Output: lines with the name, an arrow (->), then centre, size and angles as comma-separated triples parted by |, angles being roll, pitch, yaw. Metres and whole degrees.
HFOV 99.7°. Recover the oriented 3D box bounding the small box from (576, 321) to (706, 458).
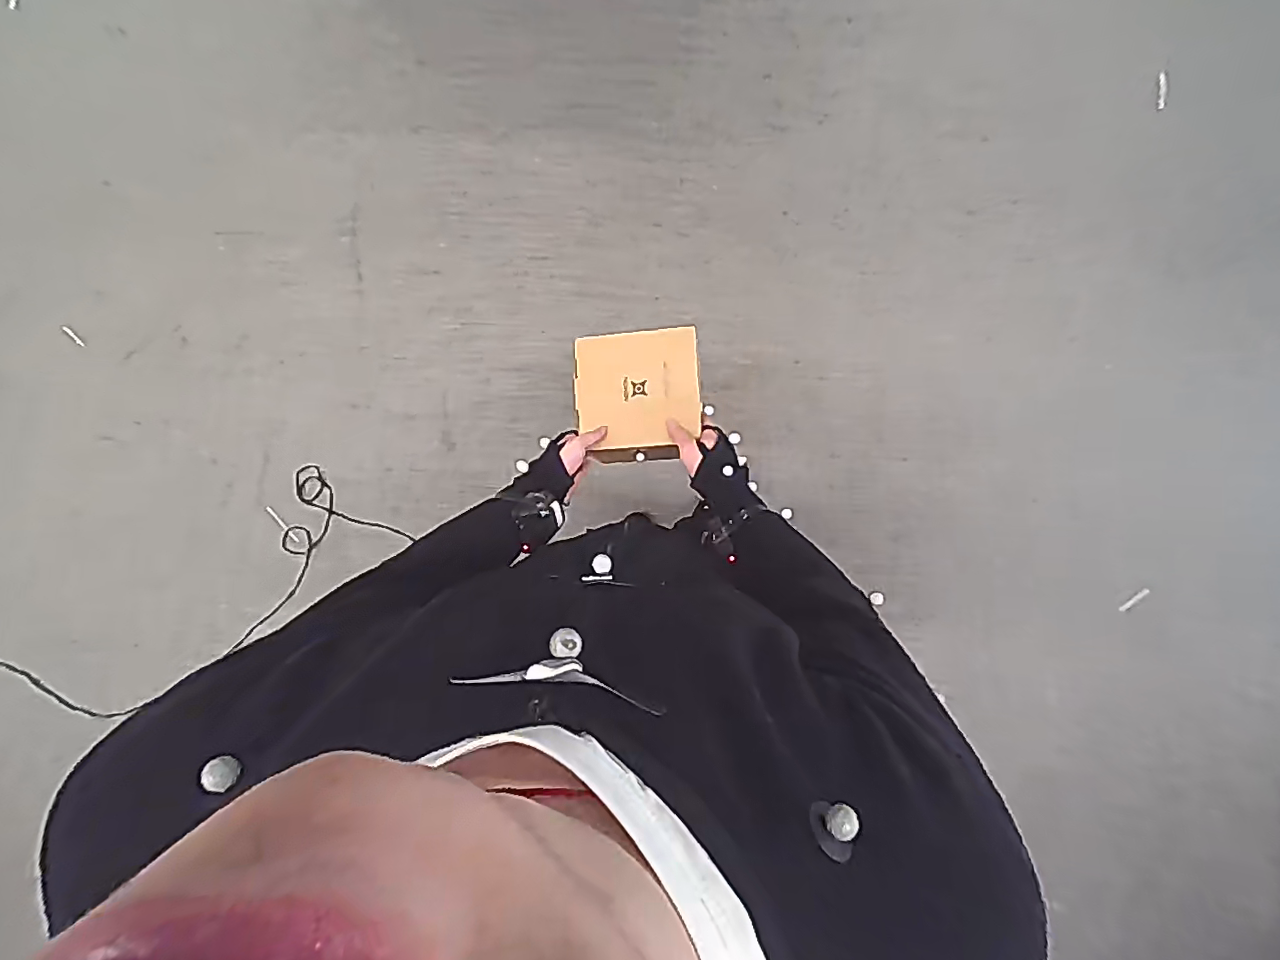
small box -> 0.009, -0.128, 0.832 | 0.179, 0.176, 0.168 | -4, 86, 6
